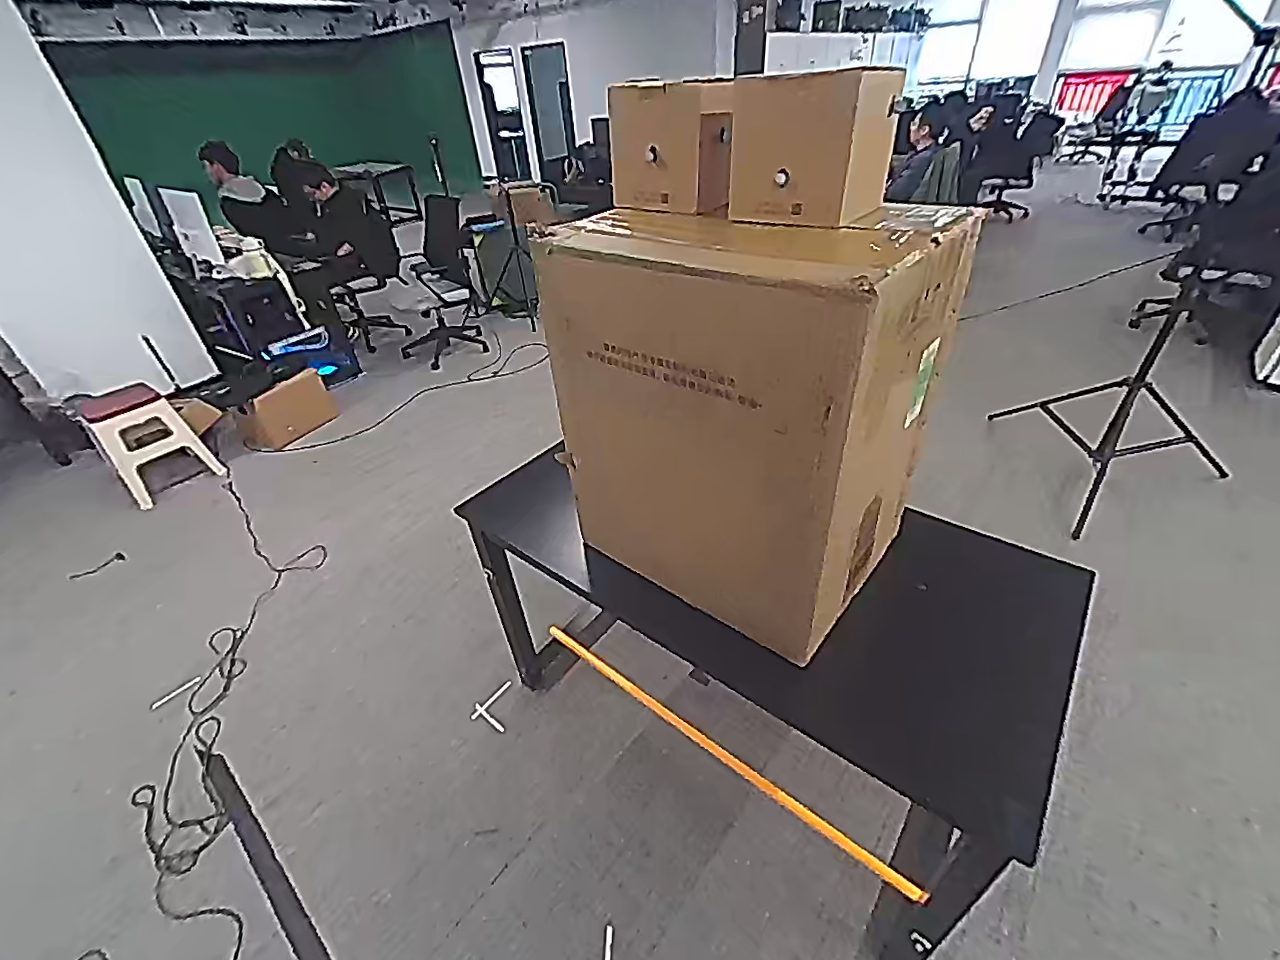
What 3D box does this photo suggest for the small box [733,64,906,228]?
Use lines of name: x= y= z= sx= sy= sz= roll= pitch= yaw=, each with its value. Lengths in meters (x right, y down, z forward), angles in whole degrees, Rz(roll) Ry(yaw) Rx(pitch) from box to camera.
small box: x=0.237 y=-0.457 z=0.740 sx=0.168 sy=0.176 sz=0.179 roll=21 pitch=42 yaw=31

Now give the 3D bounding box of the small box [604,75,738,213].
small box: x=0.066 y=-0.537 z=0.867 sx=0.168 sy=0.176 sz=0.179 roll=21 pitch=43 yaw=29
